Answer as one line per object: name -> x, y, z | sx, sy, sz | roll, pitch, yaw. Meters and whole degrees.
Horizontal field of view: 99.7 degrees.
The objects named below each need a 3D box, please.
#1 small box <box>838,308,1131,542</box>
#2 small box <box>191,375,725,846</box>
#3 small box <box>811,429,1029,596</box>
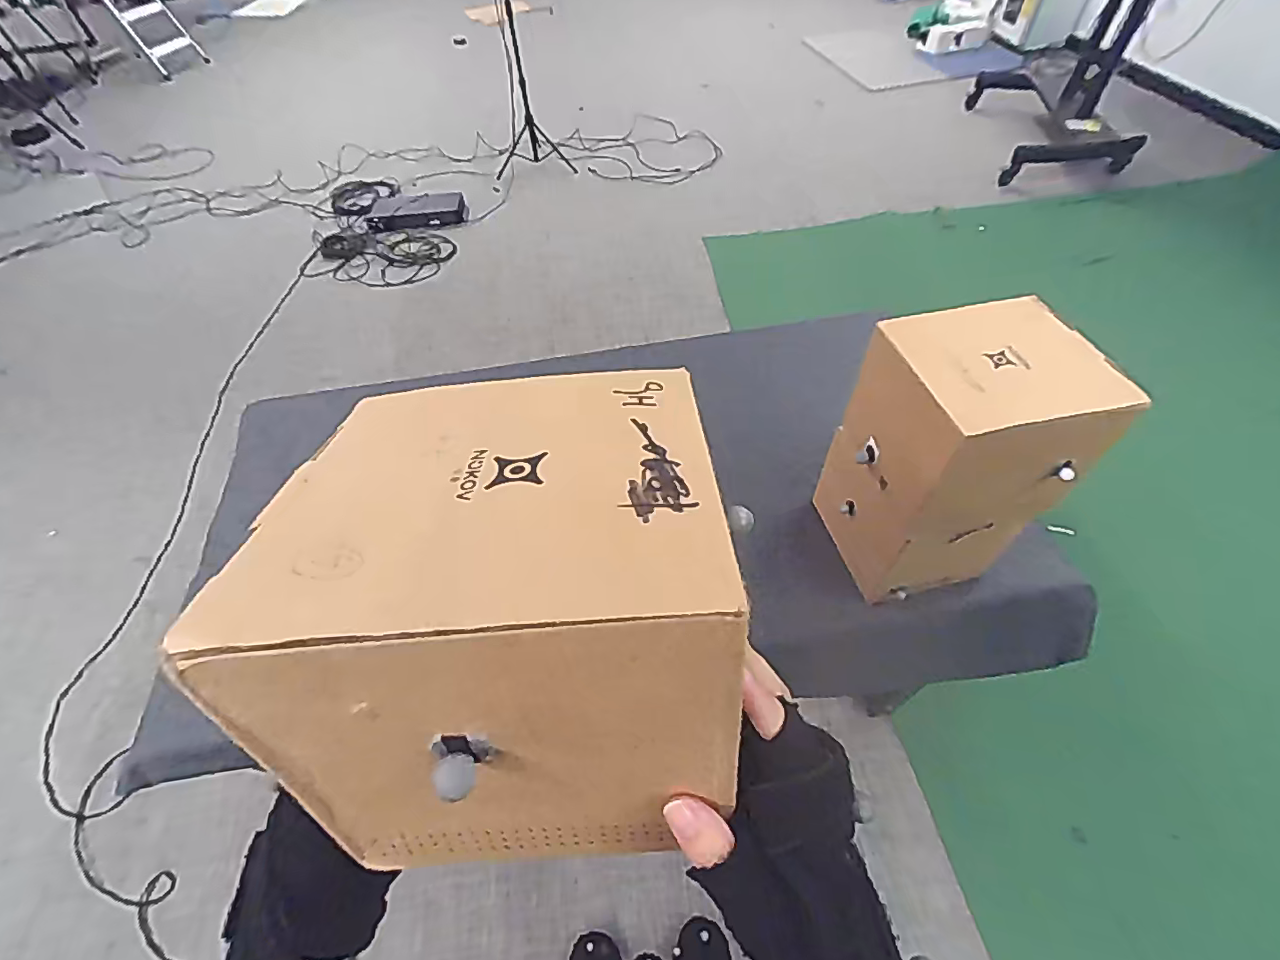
small box -> 0.341, -0.055, 0.581 | 0.179, 0.176, 0.168 | -11, 51, -4
small box -> -0.054, 0.063, 0.279 | 0.179, 0.176, 0.168 | -5, 36, 1
small box -> 0.348, 0.036, 0.714 | 0.168, 0.176, 0.179 | -12, 52, -6
